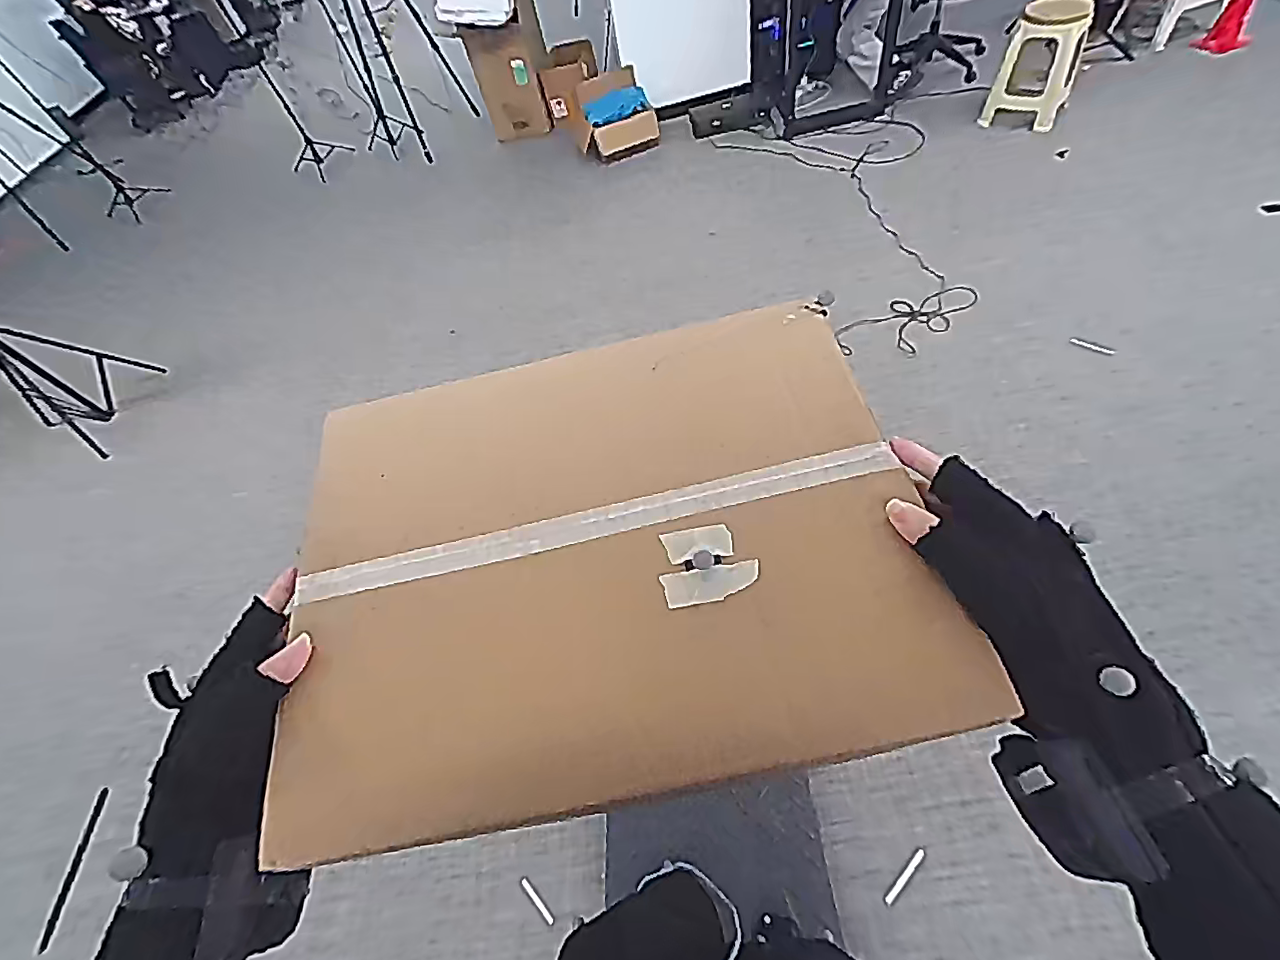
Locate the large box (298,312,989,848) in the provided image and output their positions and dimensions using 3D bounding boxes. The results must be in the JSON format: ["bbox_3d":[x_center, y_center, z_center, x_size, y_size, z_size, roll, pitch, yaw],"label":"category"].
[{"bbox_3d":[-0.008,0.106,0.501,0.408,0.320,0.320,-13,60,2],"label":"large box"}]
